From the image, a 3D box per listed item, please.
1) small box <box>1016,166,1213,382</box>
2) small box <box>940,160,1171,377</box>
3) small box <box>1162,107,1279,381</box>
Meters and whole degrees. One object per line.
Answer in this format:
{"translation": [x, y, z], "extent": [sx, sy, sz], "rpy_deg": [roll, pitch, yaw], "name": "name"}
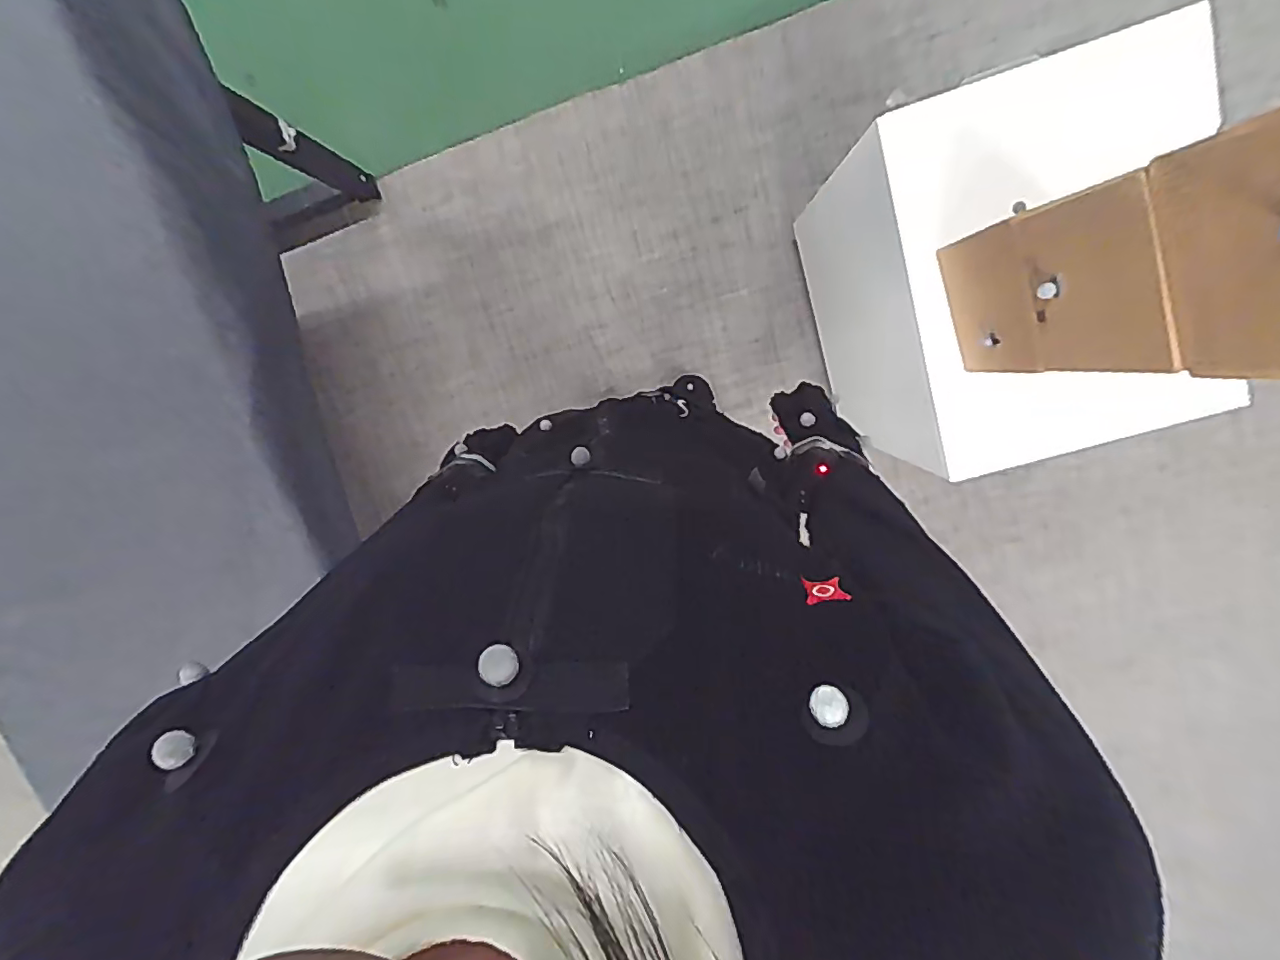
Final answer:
{"translation": [0.491, -0.198, 0.484], "extent": [0.179, 0.176, 0.168], "rpy_deg": [-21, 100, 7], "name": "small box"}
{"translation": [0.494, -0.233, 0.644], "extent": [0.168, 0.176, 0.179], "rpy_deg": [-19, 98, 8], "name": "small box"}
{"translation": [0.476, -0.165, 0.324], "extent": [0.168, 0.176, 0.179], "rpy_deg": [-20, 99, 8], "name": "small box"}
